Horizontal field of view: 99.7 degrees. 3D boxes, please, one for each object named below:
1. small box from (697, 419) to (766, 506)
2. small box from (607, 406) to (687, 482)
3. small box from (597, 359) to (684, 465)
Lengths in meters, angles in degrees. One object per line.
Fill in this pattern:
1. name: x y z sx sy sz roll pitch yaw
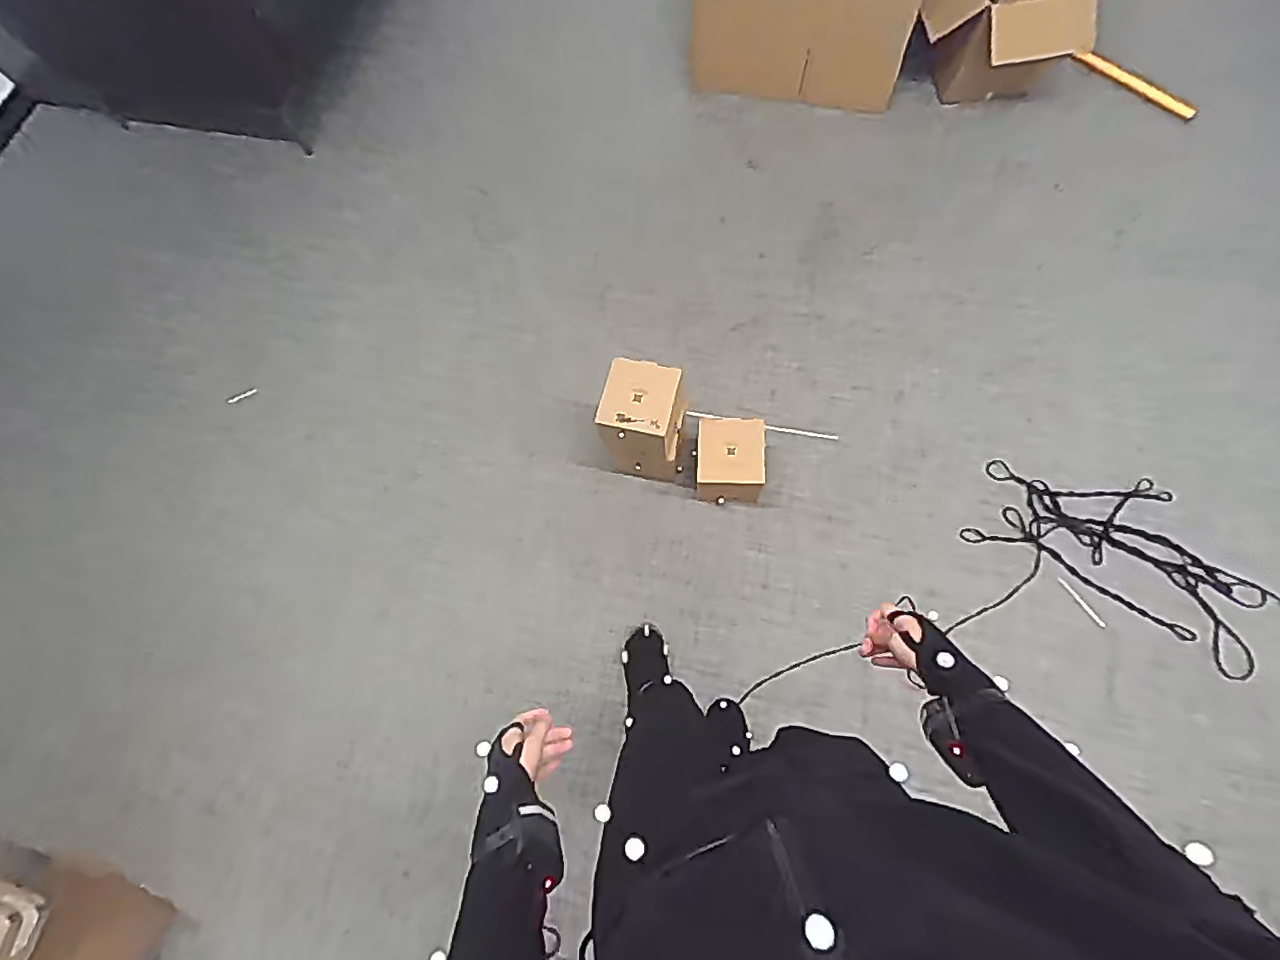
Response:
1. small box: 0.235 -0.043 1.412 0.168 0.176 0.179 2 71 7
2. small box: 0.026 -0.105 1.451 0.179 0.176 0.168 11 72 9
3. small box: 0.006 -0.159 1.297 0.168 0.176 0.179 12 71 9
